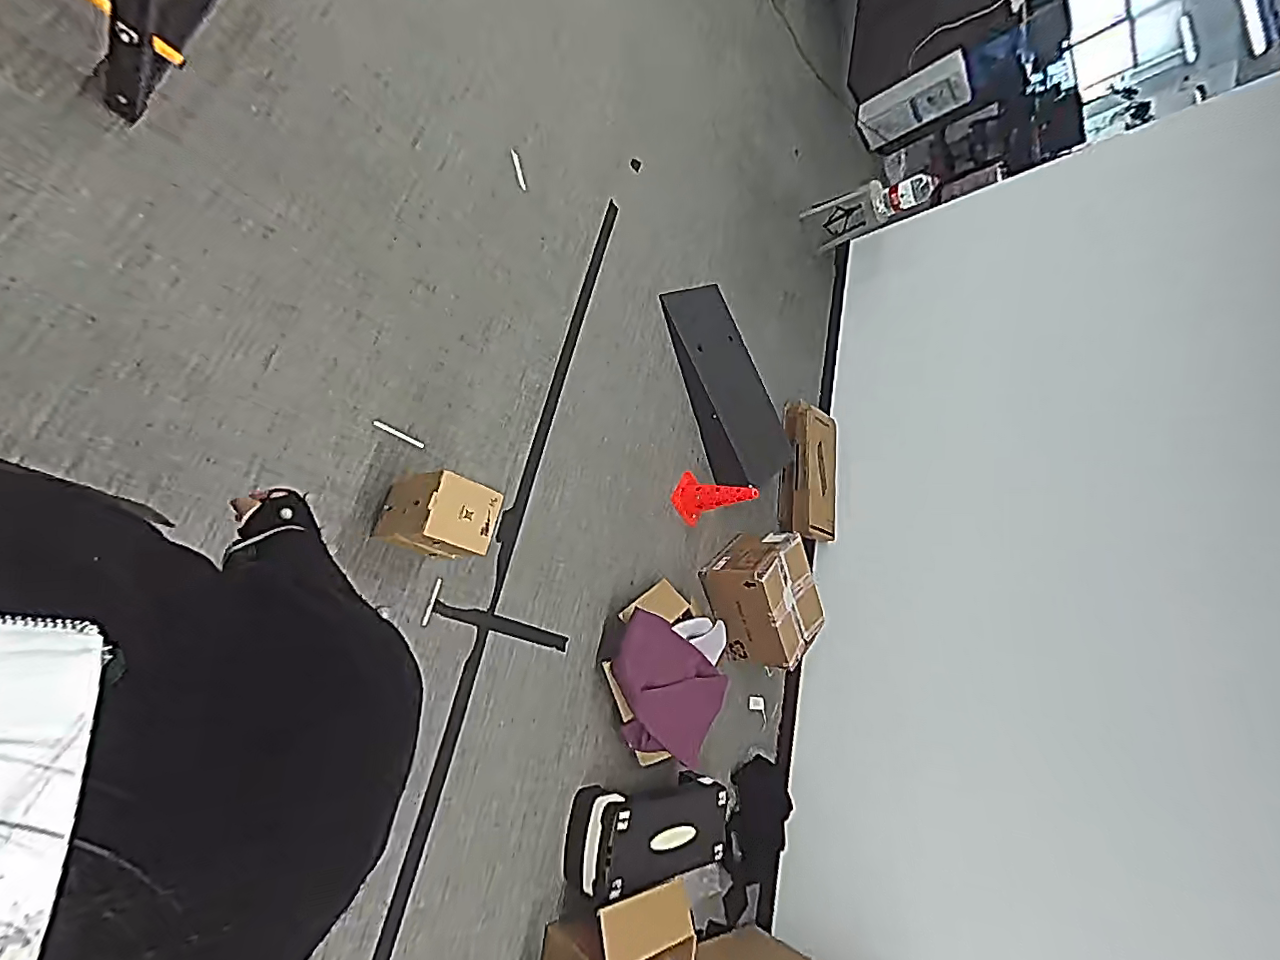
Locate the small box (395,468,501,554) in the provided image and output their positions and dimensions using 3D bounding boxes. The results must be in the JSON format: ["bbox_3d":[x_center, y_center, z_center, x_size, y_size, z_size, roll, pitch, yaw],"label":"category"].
[{"bbox_3d":[-0.489,0.086,1.372,0.179,0.176,0.168,30,64,-39],"label":"small box"}]

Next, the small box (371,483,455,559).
[{"bbox_3d":[-0.601,0.111,1.489,0.179,0.176,0.168,33,62,-39],"label":"small box"}]
